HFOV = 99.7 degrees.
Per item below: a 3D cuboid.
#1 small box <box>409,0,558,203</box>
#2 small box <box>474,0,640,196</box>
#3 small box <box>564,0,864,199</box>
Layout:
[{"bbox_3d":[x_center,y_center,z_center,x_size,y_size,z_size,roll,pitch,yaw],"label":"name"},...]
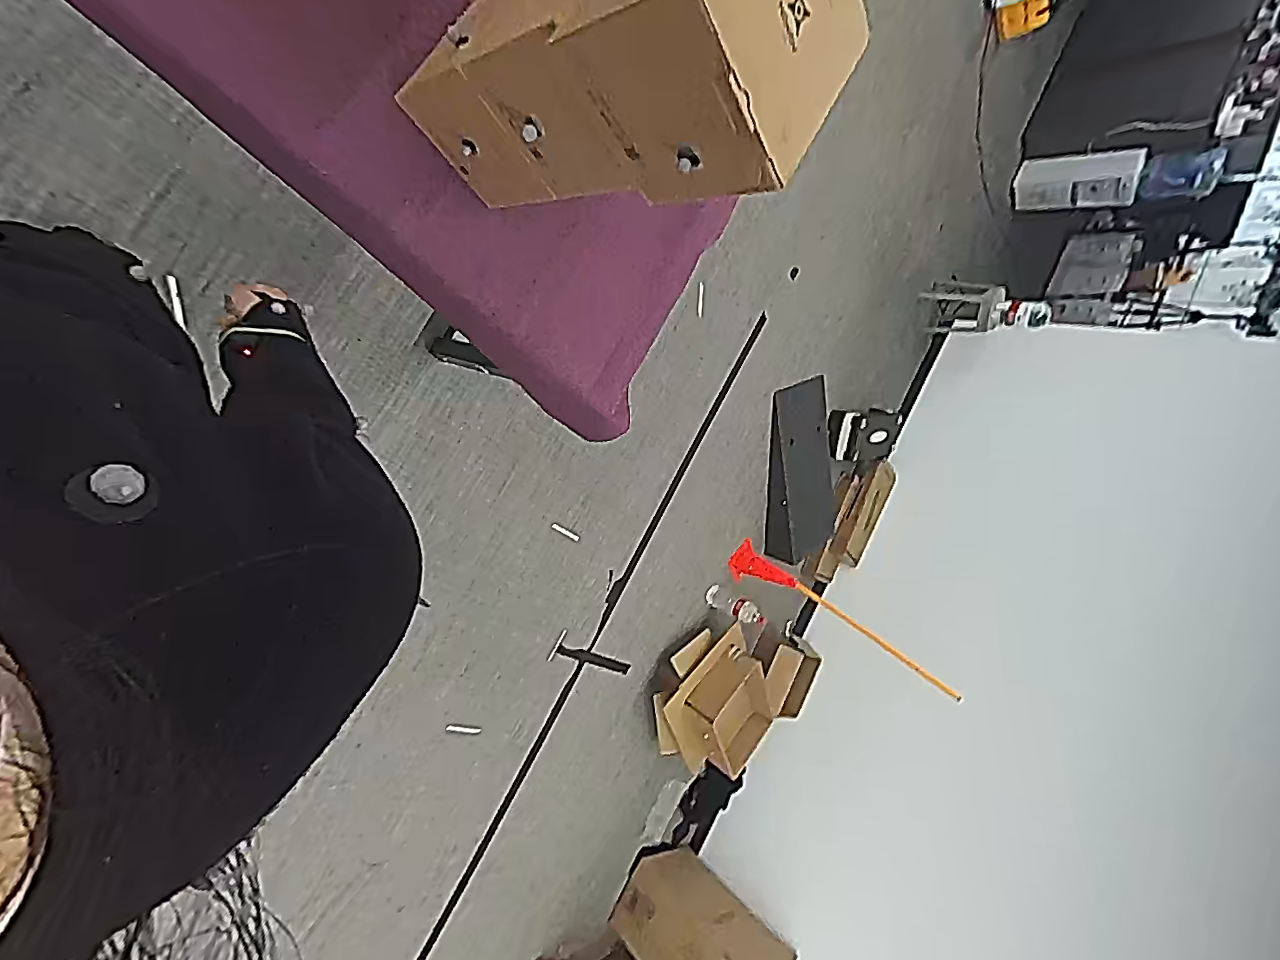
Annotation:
[{"bbox_3d":[-0.160,-0.478,0.683,0.168,0.176,0.179,43,74,-47],"label":"small box"},{"bbox_3d":[-0.043,-0.436,0.577,0.168,0.176,0.179,42,75,-46],"label":"small box"},{"bbox_3d":[0.061,-0.372,0.467,0.168,0.176,0.179,38,77,-48],"label":"small box"}]
